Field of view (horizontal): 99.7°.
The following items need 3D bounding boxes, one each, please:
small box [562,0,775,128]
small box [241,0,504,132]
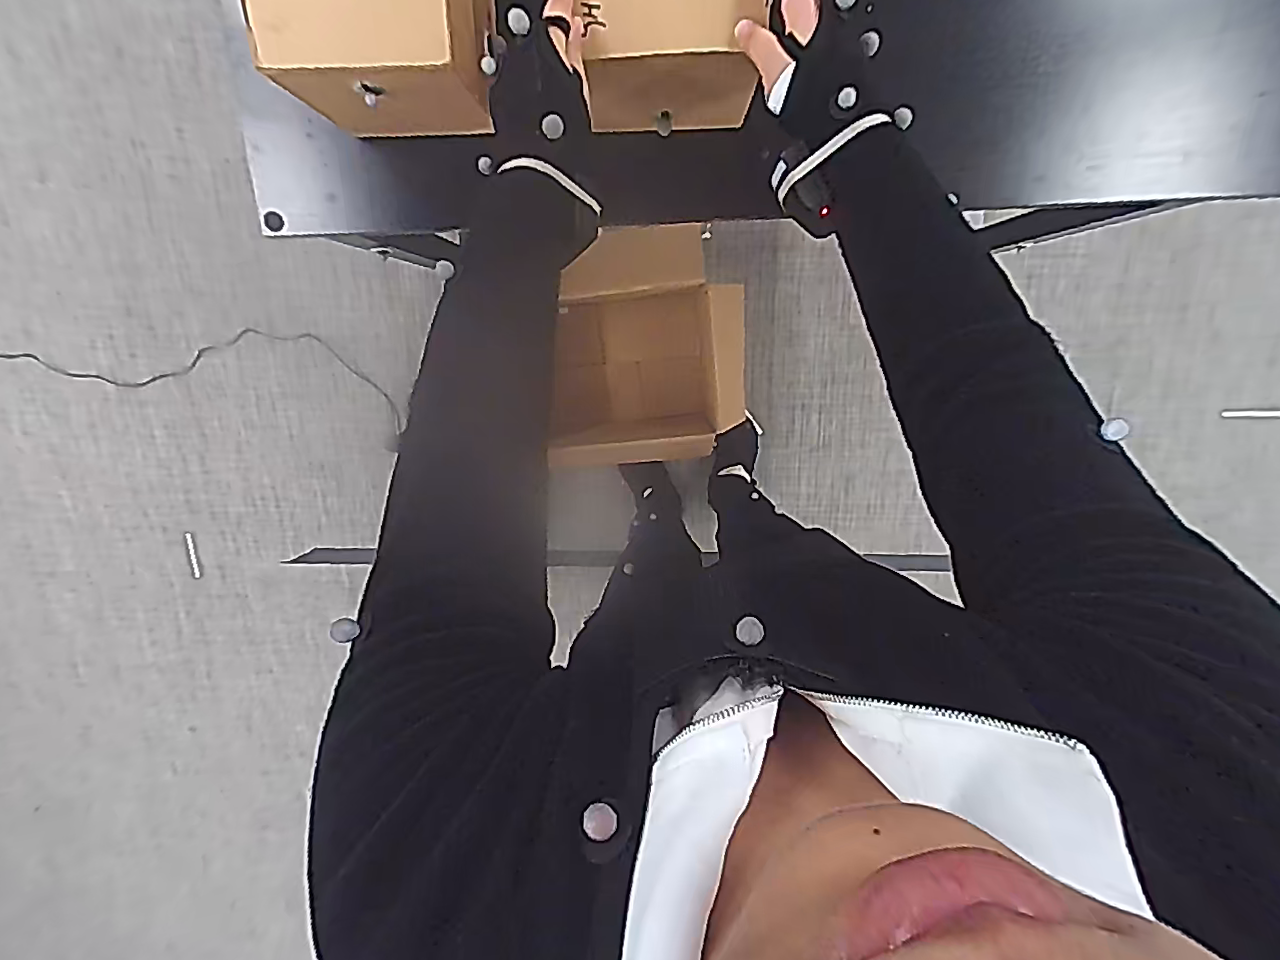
[{"bbox_3d":[0.023,-0.450,0.503,0.179,0.176,0.168,-1,104,2],"label":"small box"},{"bbox_3d":[-0.242,-0.449,0.512,0.179,0.176,0.168,-1,106,1],"label":"small box"}]
